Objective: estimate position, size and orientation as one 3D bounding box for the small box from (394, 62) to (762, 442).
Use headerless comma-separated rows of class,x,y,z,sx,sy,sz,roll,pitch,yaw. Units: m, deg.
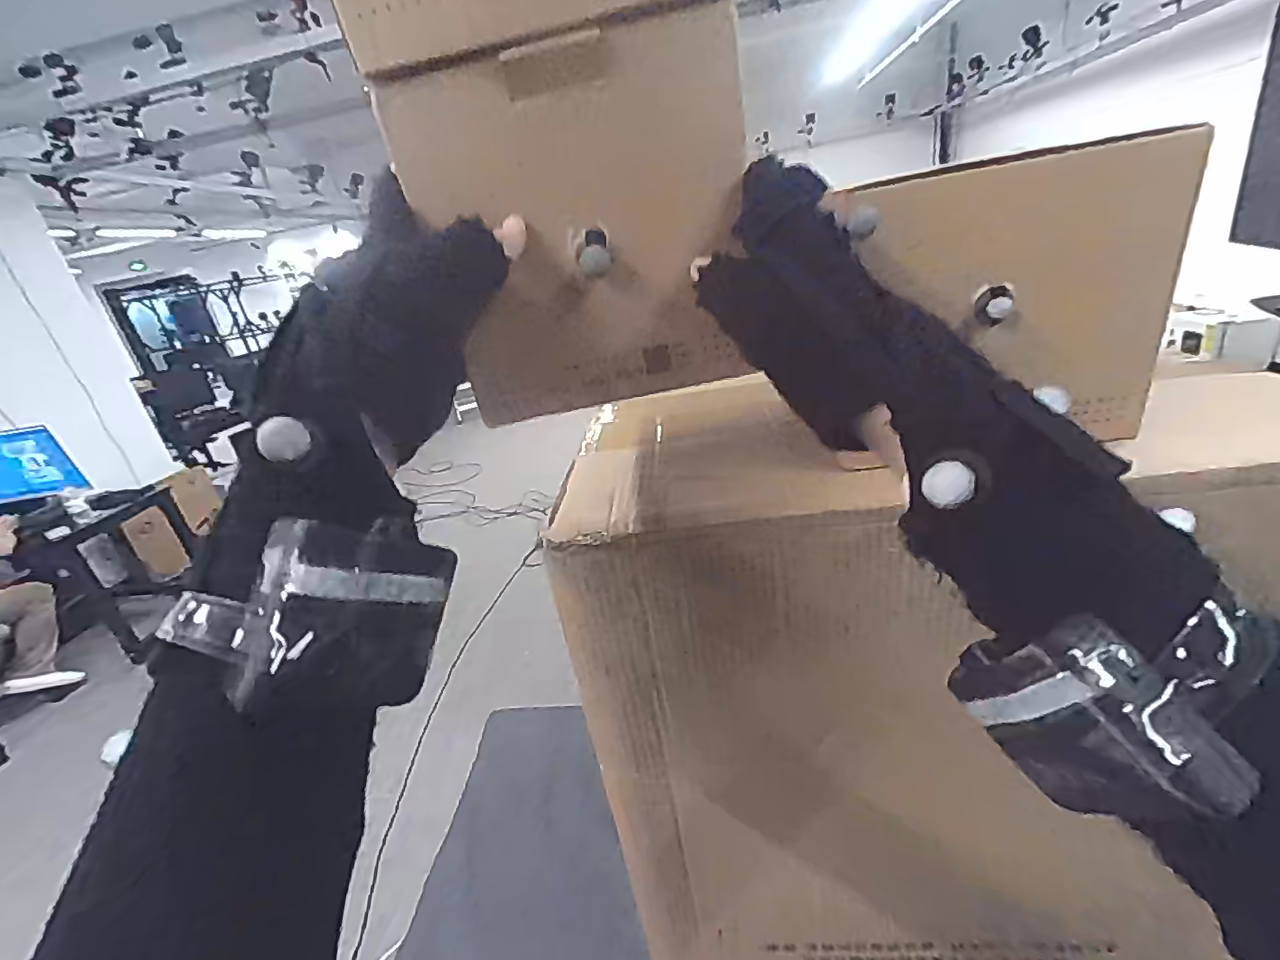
small box,-0.025,-0.136,0.359,0.168,0.176,0.179,-13,26,2
